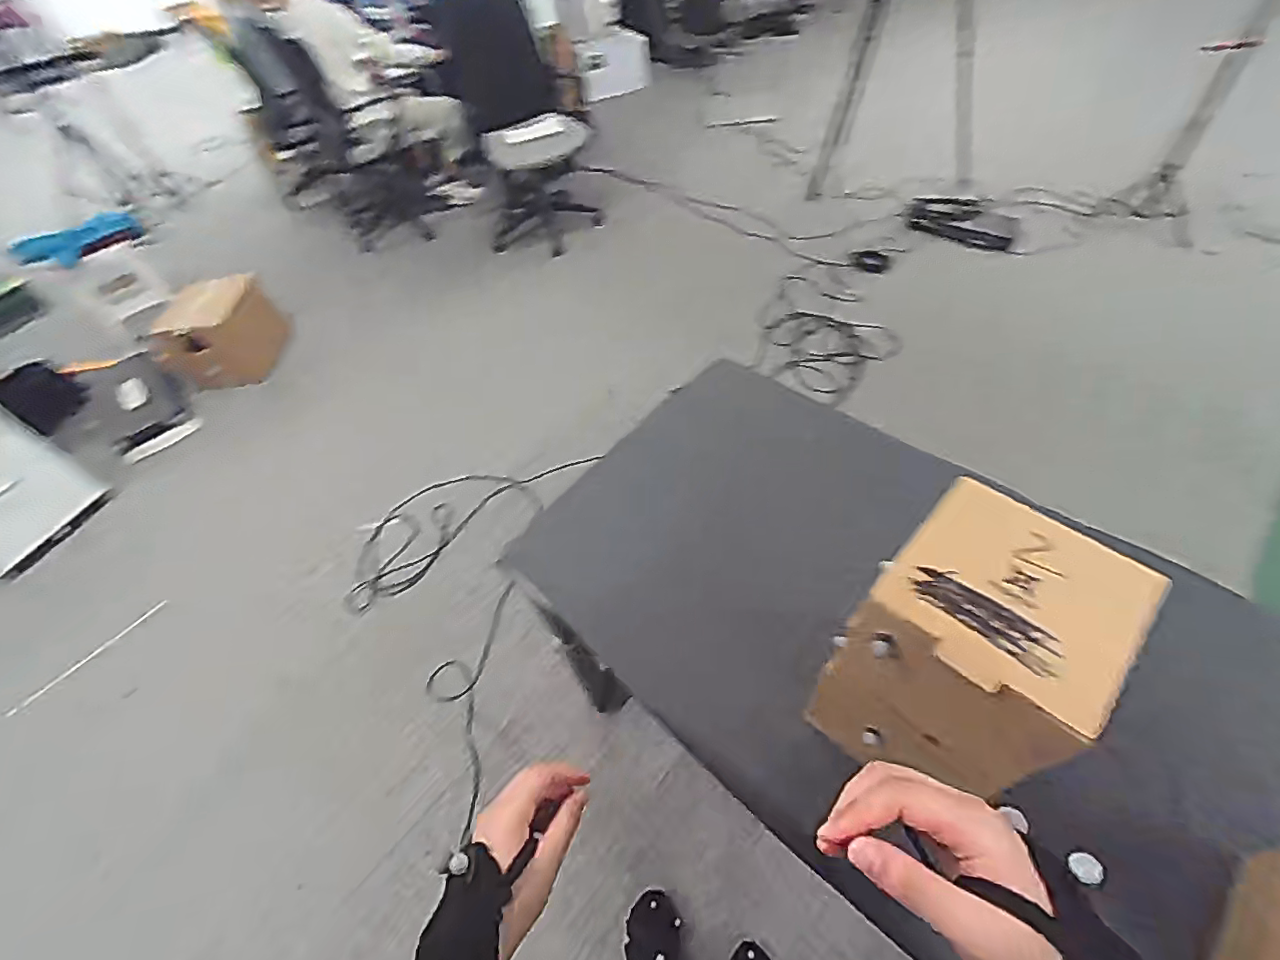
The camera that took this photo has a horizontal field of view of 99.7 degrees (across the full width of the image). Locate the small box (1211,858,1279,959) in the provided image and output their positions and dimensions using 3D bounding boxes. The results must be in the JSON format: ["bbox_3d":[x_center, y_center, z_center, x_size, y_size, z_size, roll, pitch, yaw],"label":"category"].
[{"bbox_3d":[0.615,0.426,0.424,0.179,0.176,0.168,-37,55,-23],"label":"small box"}]

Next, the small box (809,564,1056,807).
[{"bbox_3d":[0.316,0.238,0.622,0.179,0.176,0.168,34,61,30],"label":"small box"}]
